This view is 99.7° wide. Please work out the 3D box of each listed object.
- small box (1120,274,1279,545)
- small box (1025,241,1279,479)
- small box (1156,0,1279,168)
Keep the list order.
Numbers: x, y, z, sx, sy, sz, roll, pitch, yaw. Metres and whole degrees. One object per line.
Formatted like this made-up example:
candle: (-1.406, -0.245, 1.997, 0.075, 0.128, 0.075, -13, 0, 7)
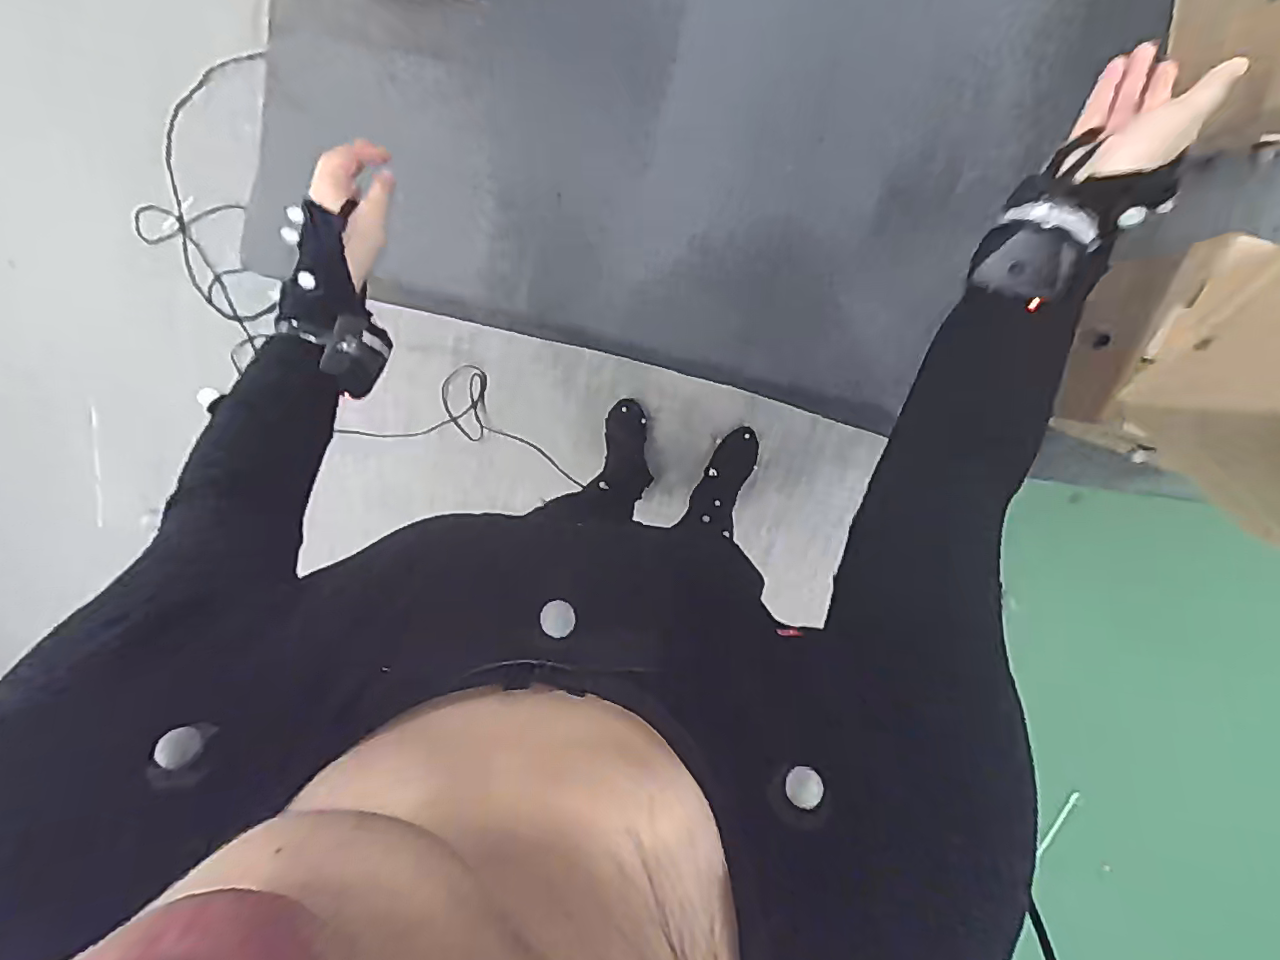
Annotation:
small box: (0.490, -0.045, 0.354, 0.179, 0.176, 0.168, 43, 105, -2)
small box: (0.519, -0.095, 0.508, 0.179, 0.176, 0.168, 23, 104, 5)
small box: (0.570, -0.374, 0.429, 0.168, 0.176, 0.179, 1, 106, 13)
